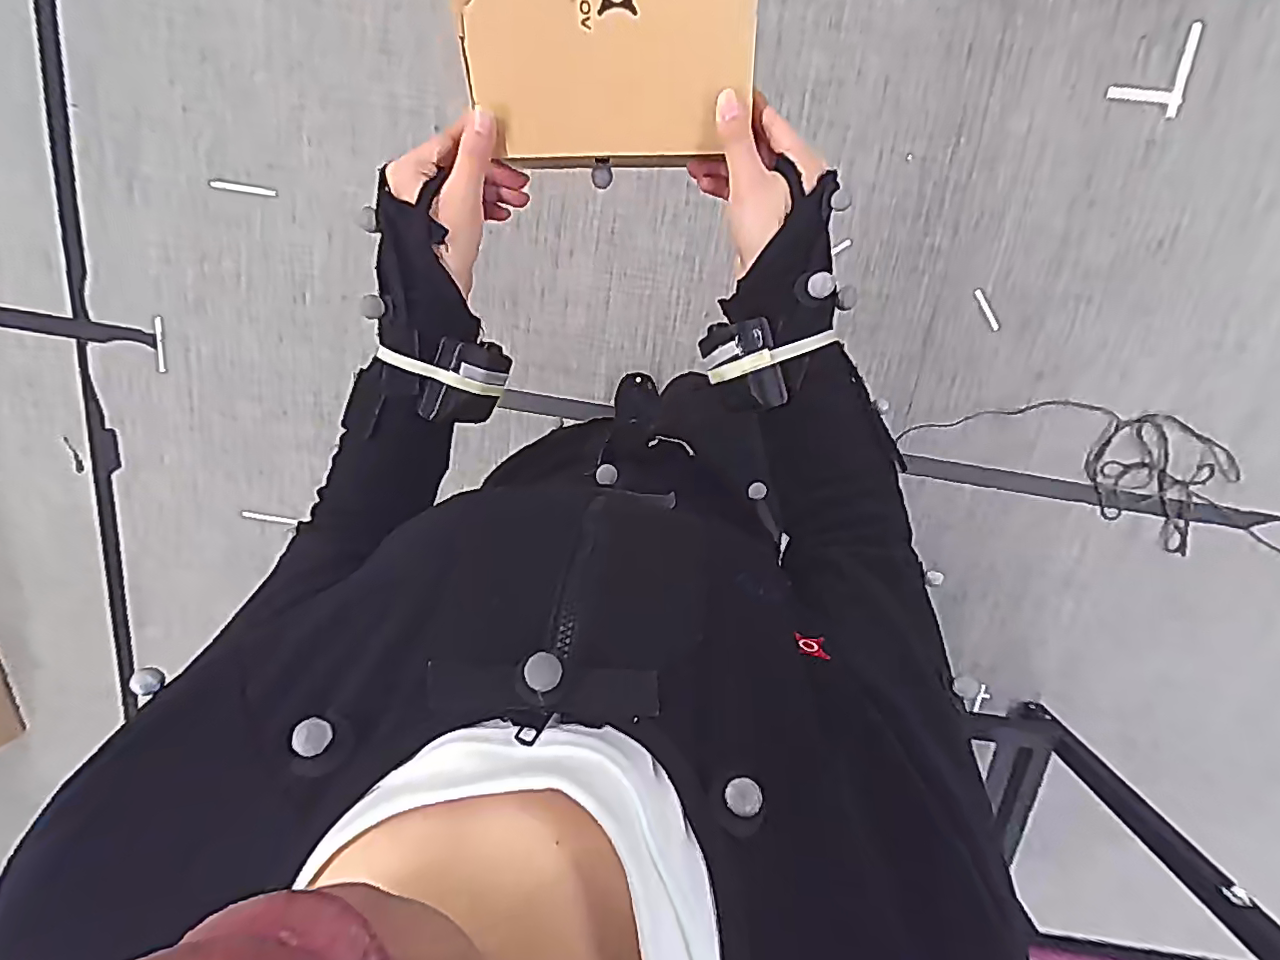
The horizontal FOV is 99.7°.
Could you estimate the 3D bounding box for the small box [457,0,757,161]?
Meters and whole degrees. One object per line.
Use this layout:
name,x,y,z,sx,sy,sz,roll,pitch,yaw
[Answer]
small box,-0.023,-0.322,0.375,0.179,0.176,0.168,-2,118,-2
